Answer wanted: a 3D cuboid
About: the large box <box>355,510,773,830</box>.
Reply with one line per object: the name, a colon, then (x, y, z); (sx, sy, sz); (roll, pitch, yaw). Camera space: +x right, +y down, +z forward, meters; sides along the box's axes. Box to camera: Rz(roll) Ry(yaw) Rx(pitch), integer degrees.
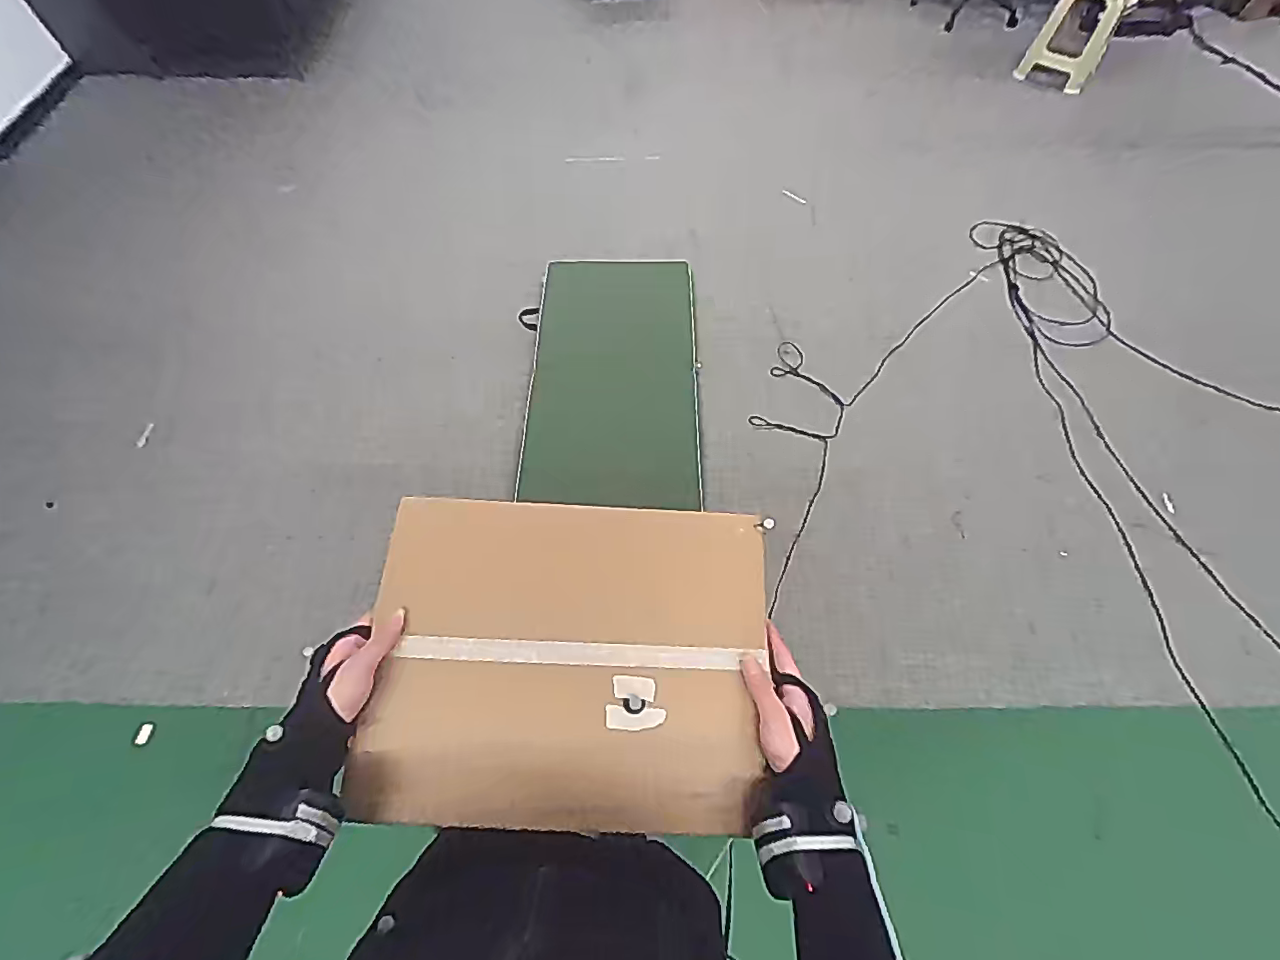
large box: (-0.075, 0.239, 0.701); (0.408, 0.320, 0.320); (3, 69, -2)
